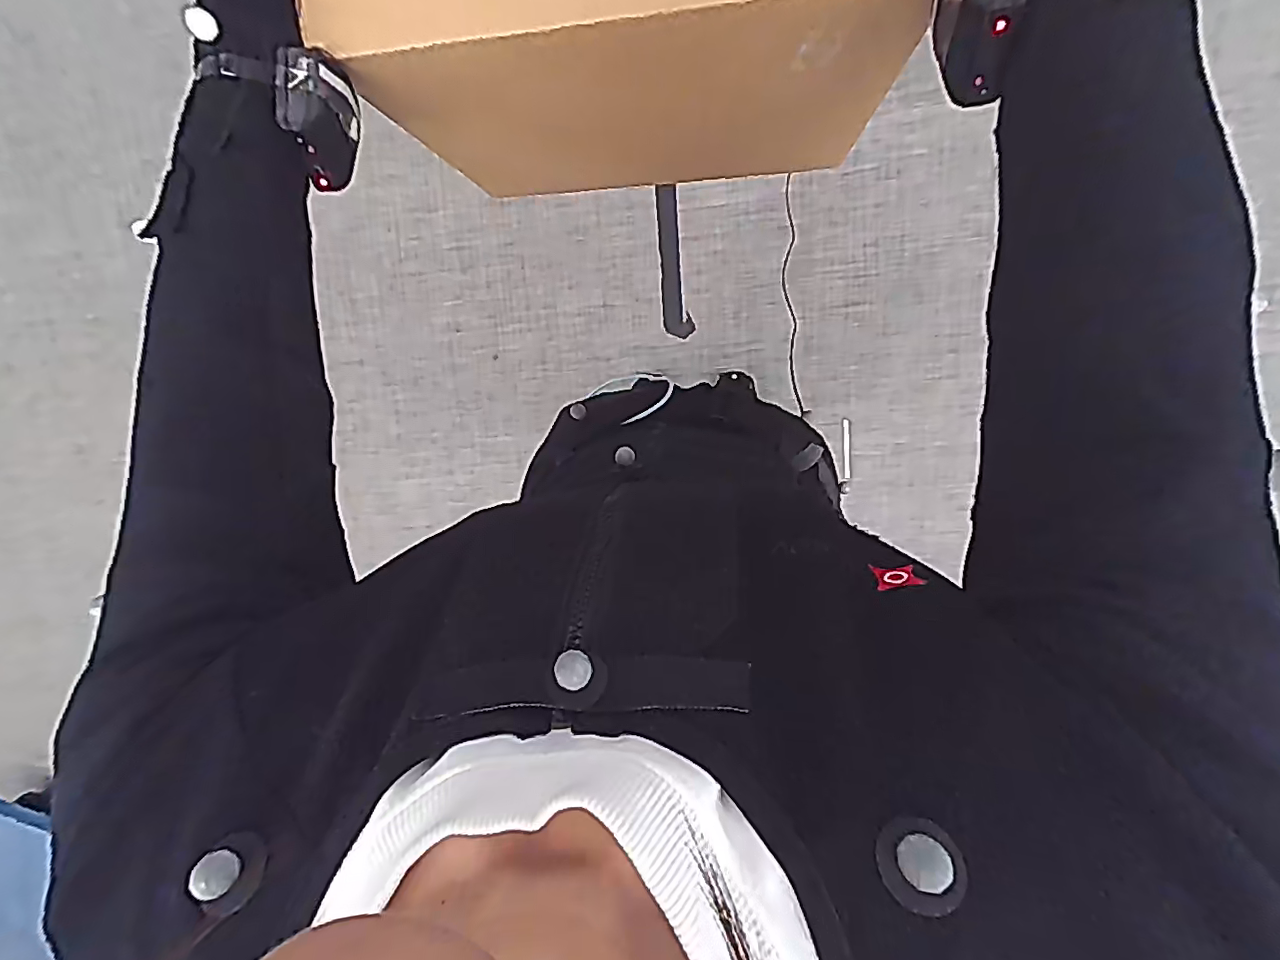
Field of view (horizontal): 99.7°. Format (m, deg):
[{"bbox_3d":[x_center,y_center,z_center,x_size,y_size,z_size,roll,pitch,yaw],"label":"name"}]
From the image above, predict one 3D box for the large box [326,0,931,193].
[{"bbox_3d":[-0.002,-0.469,0.451,0.408,0.320,0.320,-2,102,7],"label":"large box"}]
